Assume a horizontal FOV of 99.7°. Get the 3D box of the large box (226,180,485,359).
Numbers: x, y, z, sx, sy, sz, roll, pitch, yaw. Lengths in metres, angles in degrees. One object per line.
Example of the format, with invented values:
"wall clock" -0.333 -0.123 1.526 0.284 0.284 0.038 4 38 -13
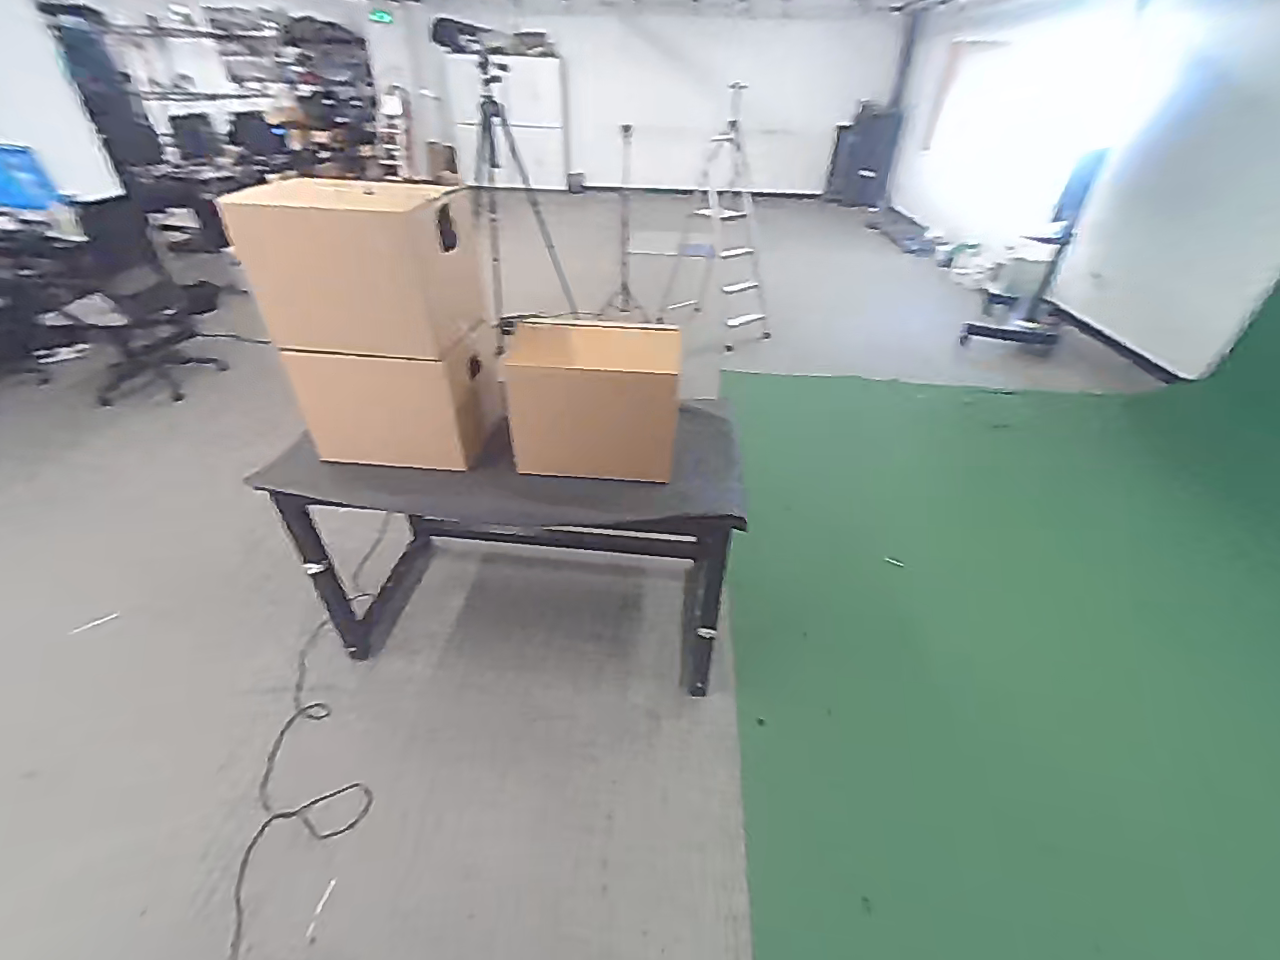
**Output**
"large box" -0.621 -0.498 1.267 0.408 0.320 0.320 6 37 3
